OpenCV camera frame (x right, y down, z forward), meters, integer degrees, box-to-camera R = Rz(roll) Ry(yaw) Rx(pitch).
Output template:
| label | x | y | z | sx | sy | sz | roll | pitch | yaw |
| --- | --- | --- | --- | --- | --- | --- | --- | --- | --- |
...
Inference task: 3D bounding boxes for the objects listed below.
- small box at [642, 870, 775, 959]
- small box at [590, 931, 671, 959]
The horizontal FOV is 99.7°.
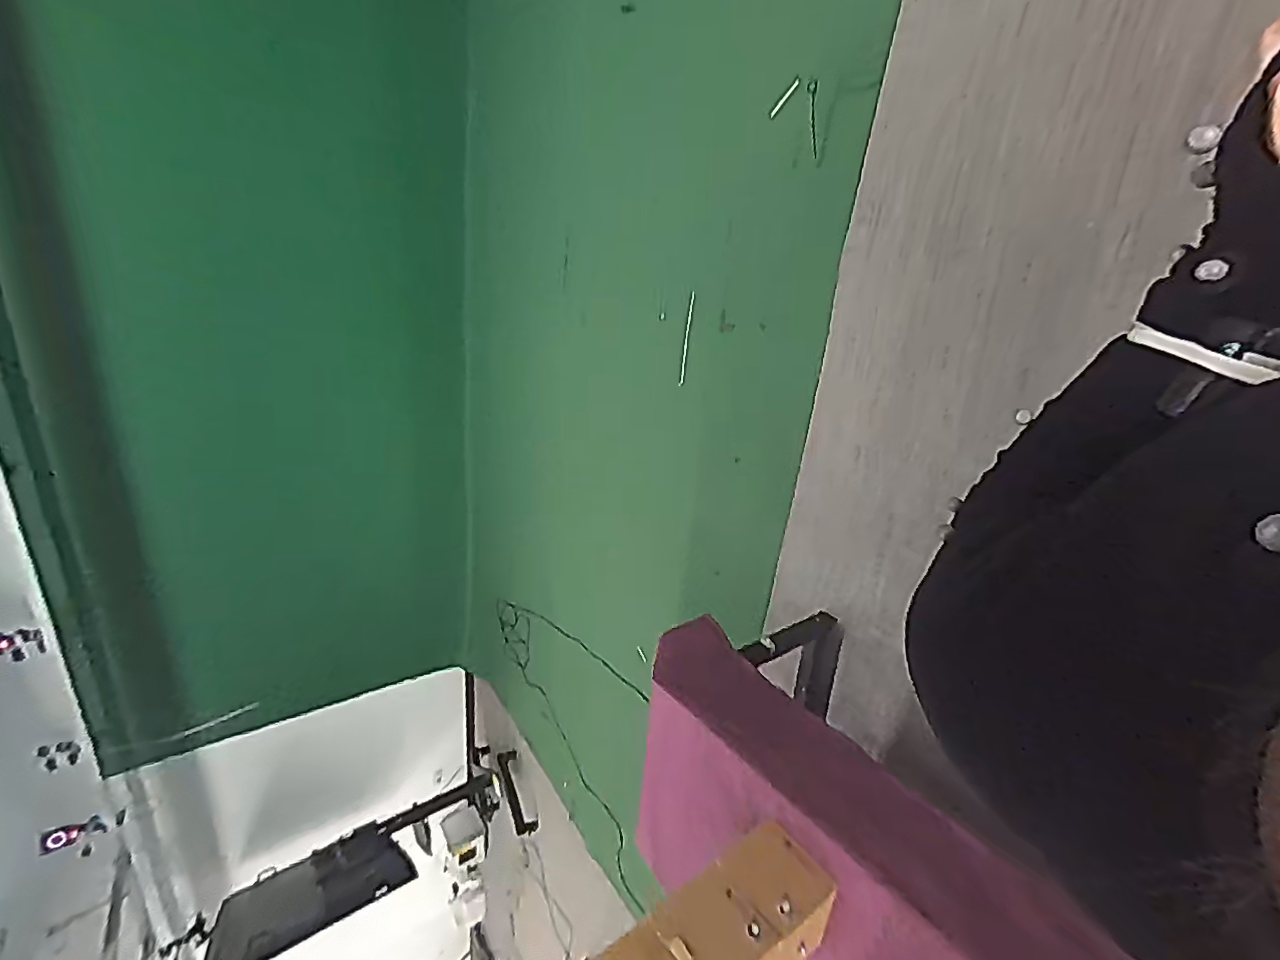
| label | x | y | z | sx | sy | sz | roll | pitch | yaw |
| --- | --- | --- | --- | --- | --- | --- | --- | --- | --- |
| small box | 0.115 | 0.843 | 0.945 | 0.168 | 0.176 | 0.179 | 25 | 118 | 49 |
| small box | -0.013 | 0.867 | 0.848 | 0.179 | 0.176 | 0.168 | 22 | 115 | 49 |
